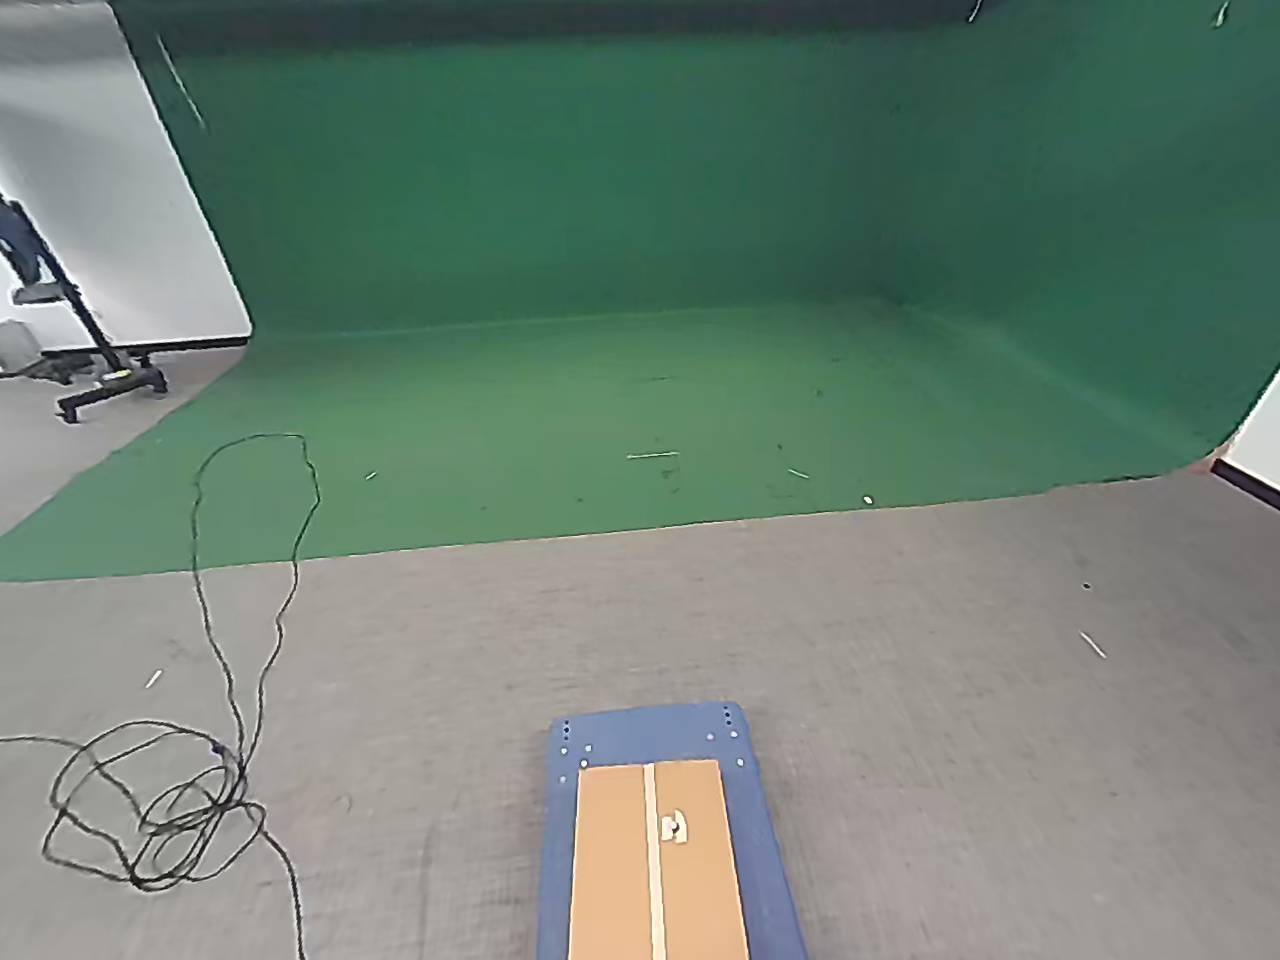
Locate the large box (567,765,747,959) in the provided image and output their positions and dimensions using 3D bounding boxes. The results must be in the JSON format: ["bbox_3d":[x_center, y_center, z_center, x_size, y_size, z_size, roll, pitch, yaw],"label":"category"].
[{"bbox_3d":[0.029,0.877,1.121,0.320,0.320,0.408,-2,34,-1],"label":"large box"}]
